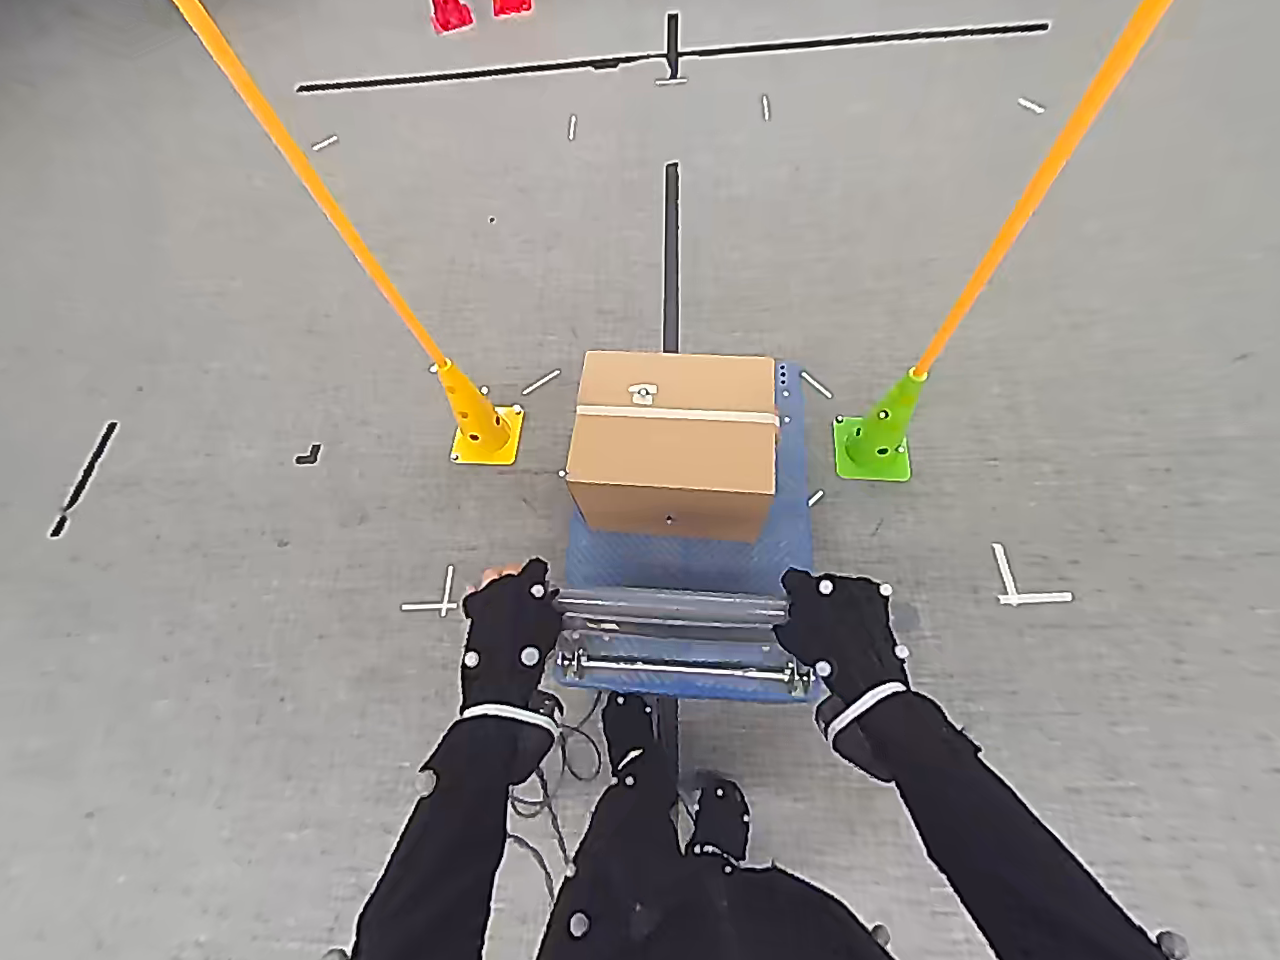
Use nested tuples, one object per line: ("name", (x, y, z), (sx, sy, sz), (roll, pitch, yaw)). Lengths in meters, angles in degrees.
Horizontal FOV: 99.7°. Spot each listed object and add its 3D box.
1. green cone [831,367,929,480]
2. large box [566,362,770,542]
("green cone", (0.646, -0.164, 1.397), (0.202, 0.368, 0.200), (3, 66, 5))
("large box", (0.078, -0.054, 1.239), (0.408, 0.320, 0.320), (3, 66, 7))
